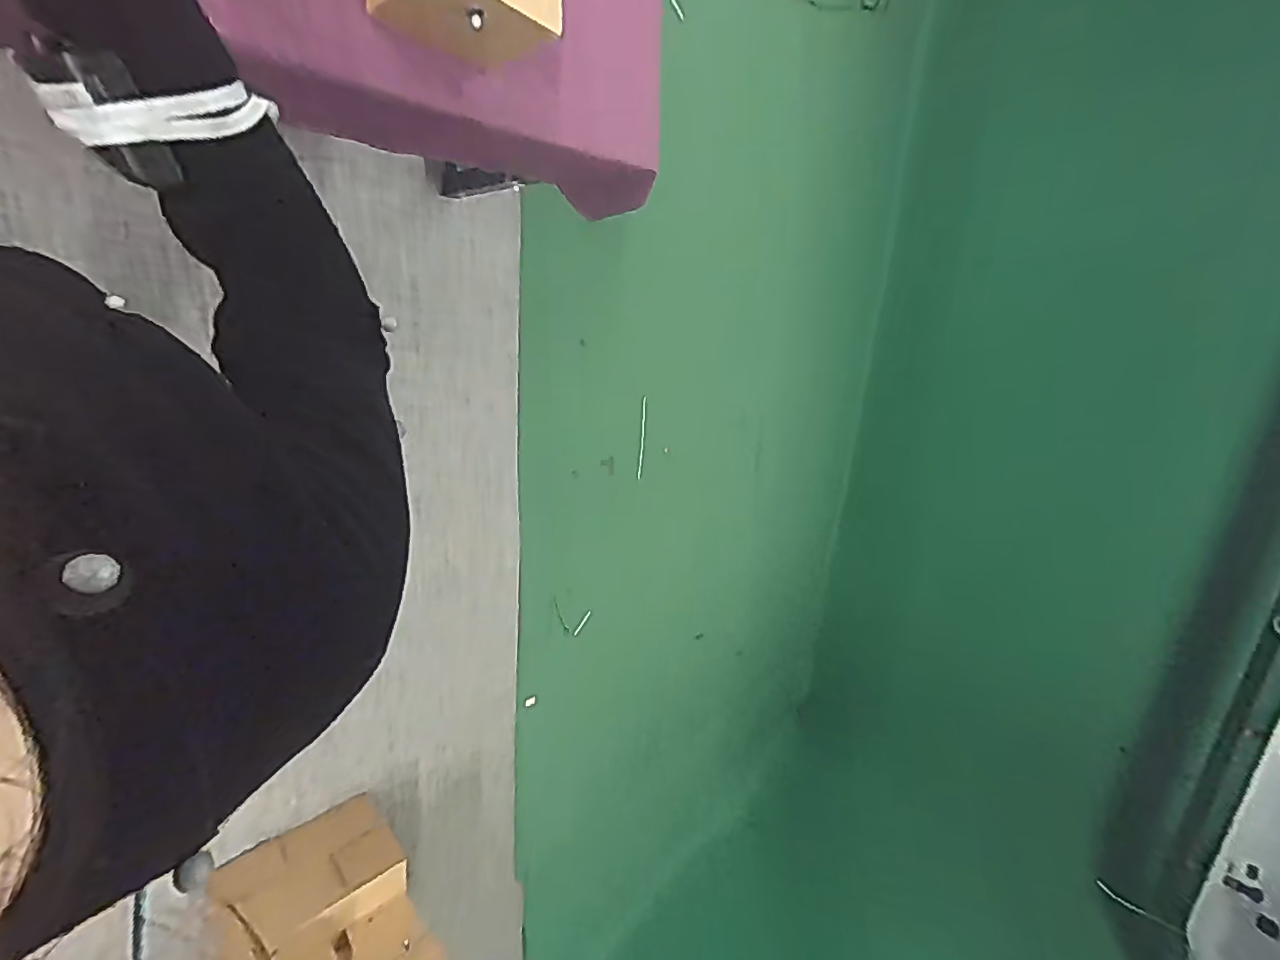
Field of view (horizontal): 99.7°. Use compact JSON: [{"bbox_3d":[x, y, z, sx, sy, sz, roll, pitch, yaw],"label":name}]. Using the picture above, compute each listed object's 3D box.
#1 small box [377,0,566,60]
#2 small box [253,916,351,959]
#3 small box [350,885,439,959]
[{"bbox_3d":[-0.206,-0.647,0.650,0.179,0.176,0.168,-12,113,-47],"label":"small box"},{"bbox_3d":[-0.817,1.205,1.297,0.168,0.176,0.179,-3,108,-47],"label":"small box"},{"bbox_3d":[-0.681,1.284,1.490,0.168,0.176,0.179,-5,110,-49],"label":"small box"}]
